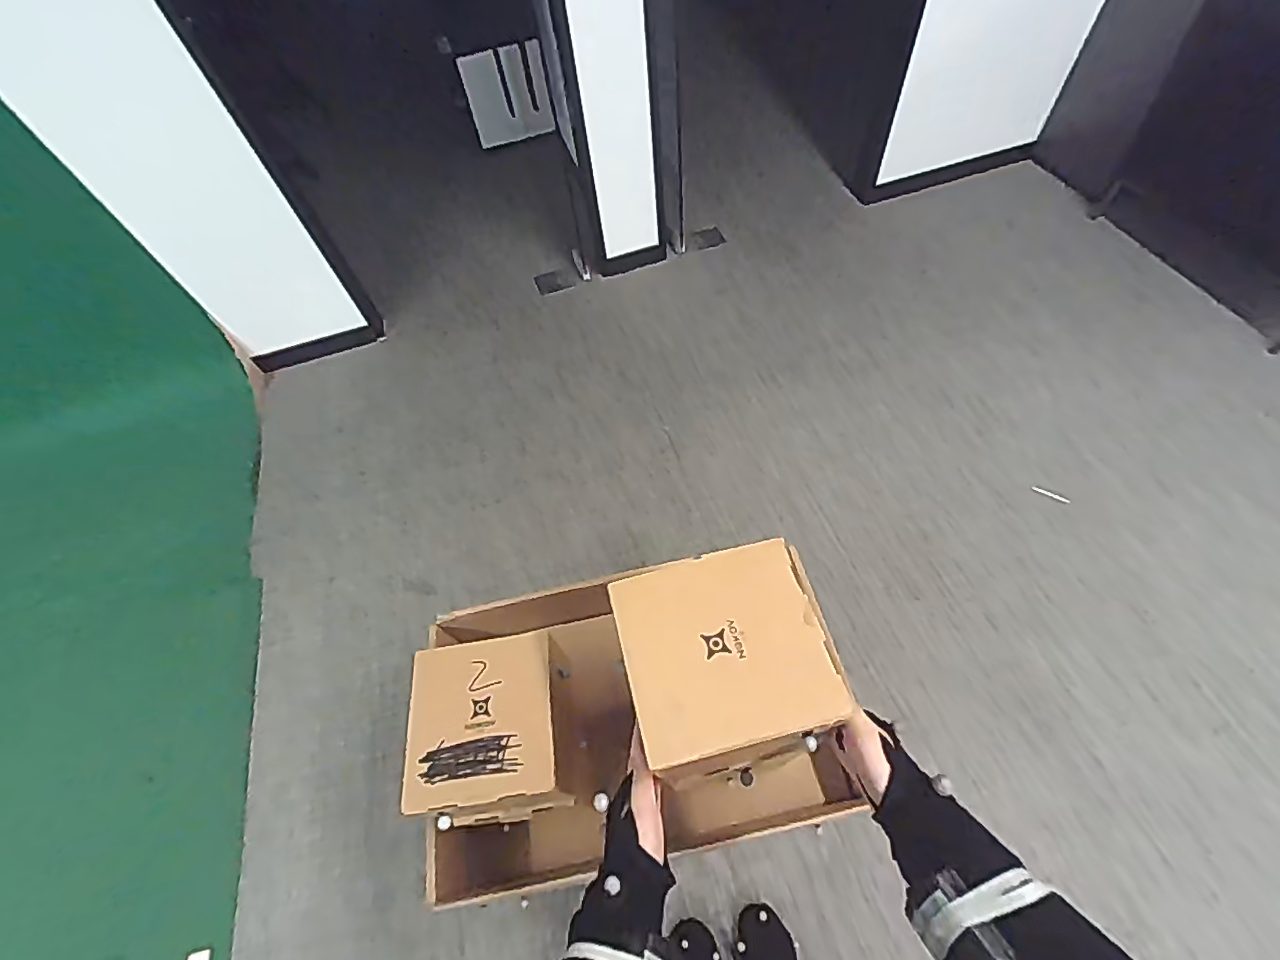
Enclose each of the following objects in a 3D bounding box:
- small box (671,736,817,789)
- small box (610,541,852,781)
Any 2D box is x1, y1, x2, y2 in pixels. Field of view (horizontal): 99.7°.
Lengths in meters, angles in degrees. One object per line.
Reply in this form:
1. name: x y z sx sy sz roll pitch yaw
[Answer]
1. small box: 0.101 0.272 0.683 0.168 0.176 0.179 -15 59 -3
2. small box: 0.081 0.188 0.543 0.179 0.176 0.168 -14 57 -3
